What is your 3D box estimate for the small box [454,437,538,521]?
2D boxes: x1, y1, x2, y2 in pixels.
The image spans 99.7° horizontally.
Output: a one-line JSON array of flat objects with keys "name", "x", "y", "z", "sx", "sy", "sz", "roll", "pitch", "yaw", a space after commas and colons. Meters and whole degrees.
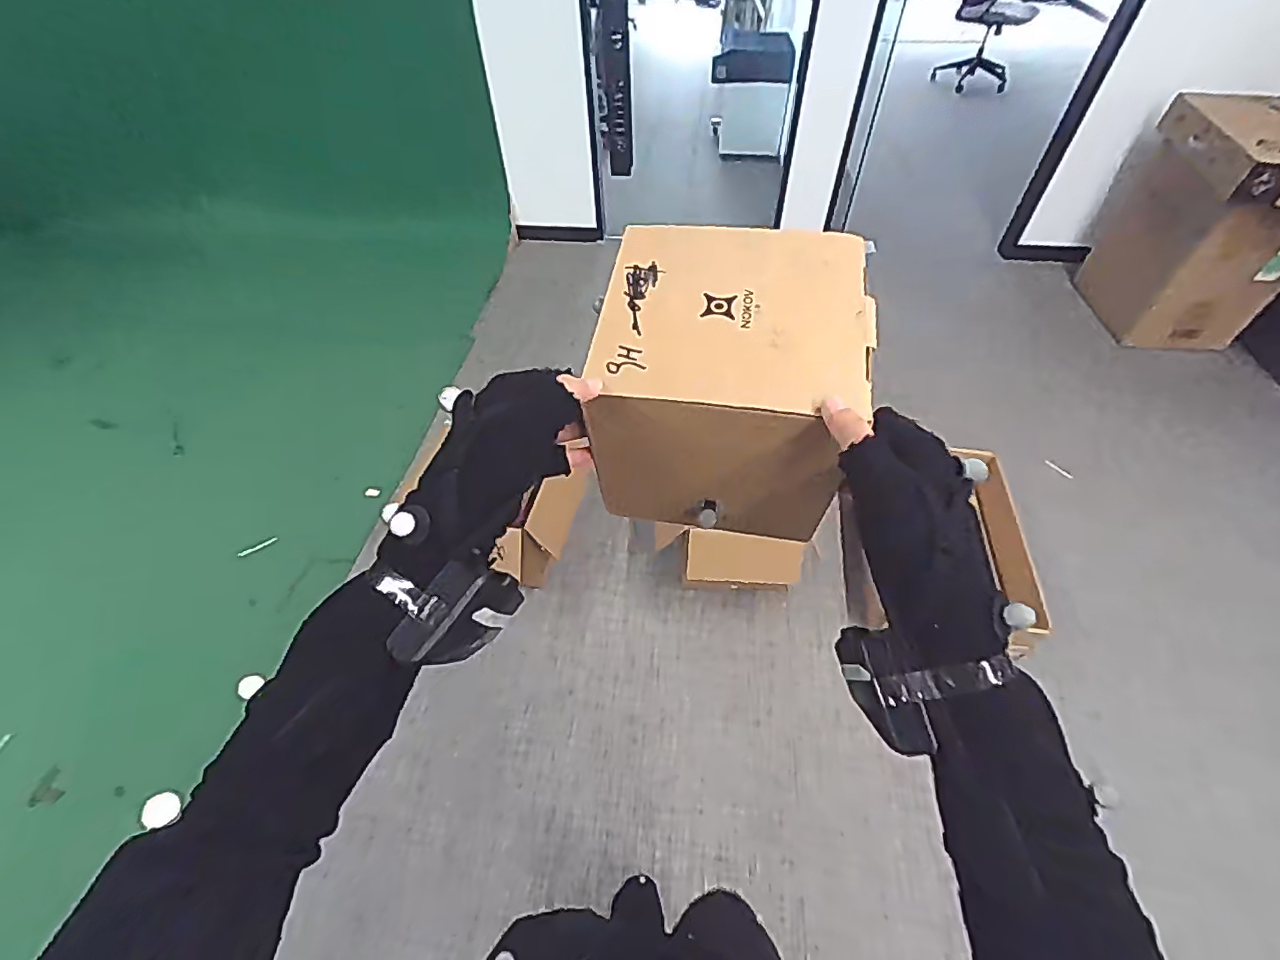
[{"name": "small box", "x": -0.407, "y": 0.001, "z": 1.571, "sx": 0.179, "sy": 0.176, "sz": 0.168, "roll": 9, "pitch": 50, "yaw": 7}]

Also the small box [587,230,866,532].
[{"name": "small box", "x": 0.067, "y": -0.071, "z": 0.442, "sx": 0.179, "sy": 0.176, "sz": 0.168, "roll": 8, "pitch": 59, "yaw": 7}]
